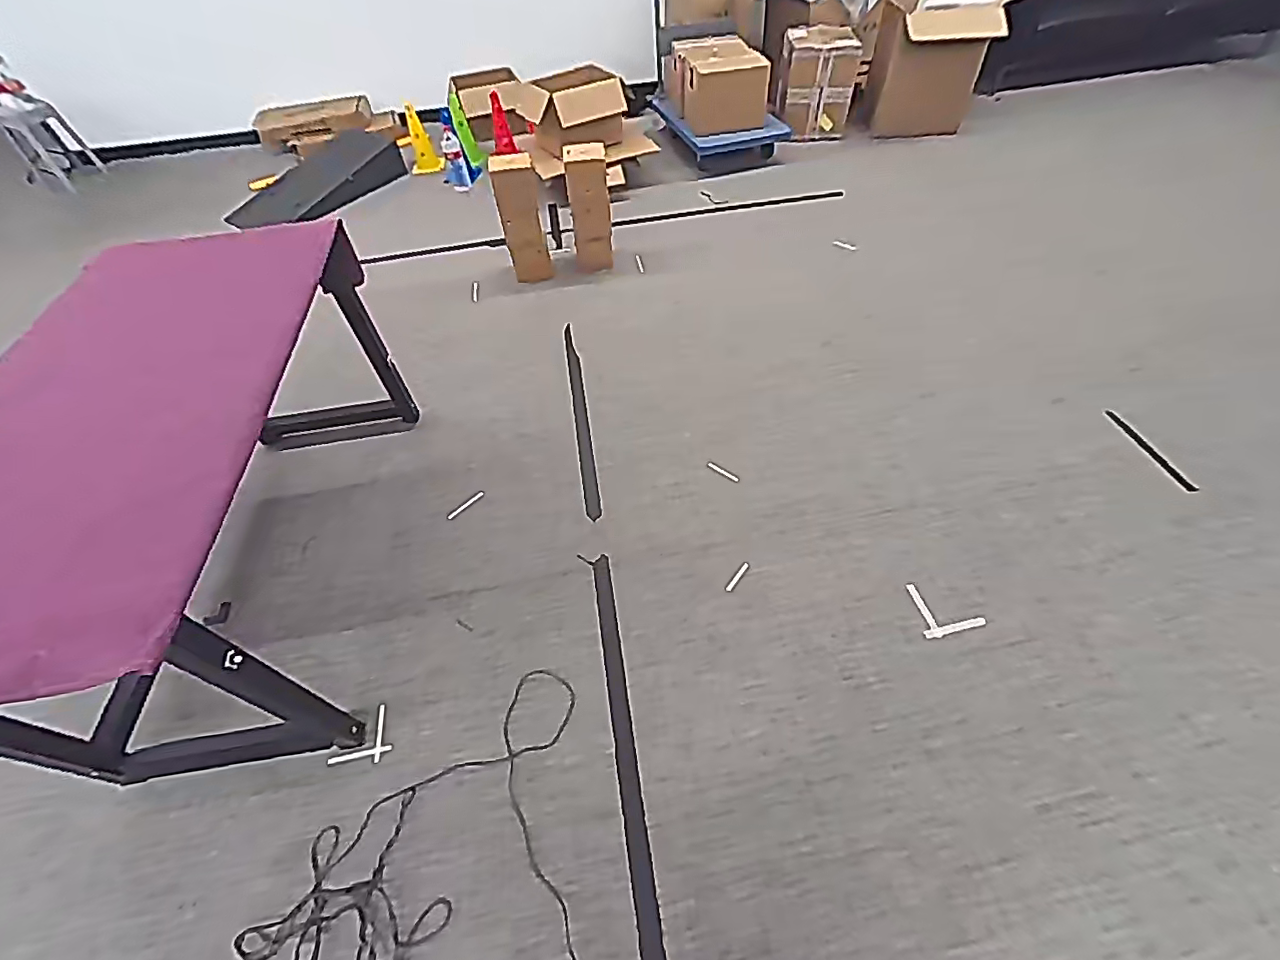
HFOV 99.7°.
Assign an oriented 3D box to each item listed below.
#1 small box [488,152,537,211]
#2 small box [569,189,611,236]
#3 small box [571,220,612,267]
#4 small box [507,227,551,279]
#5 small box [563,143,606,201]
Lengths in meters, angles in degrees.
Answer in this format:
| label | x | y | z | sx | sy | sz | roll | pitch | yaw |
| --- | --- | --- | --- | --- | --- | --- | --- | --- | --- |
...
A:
| label | x | y | z | sx | sy | sz | roll | pitch | yaw |
| --- | --- | --- | --- | --- | --- | --- | --- | --- | --- |
| small box | -0.544 | -1.279 | 2.318 | 0.179 | 0.176 | 0.168 | -11 | 50 | -5 |
| small box | -0.231 | -1.235 | 2.473 | 0.179 | 0.176 | 0.168 | -8 | 53 | -4 |
| small box | -0.232 | -1.146 | 2.613 | 0.168 | 0.176 | 0.179 | -9 | 52 | -5 |
| small box | -0.527 | -1.079 | 2.577 | 0.179 | 0.176 | 0.168 | -9 | 52 | -4 |
| small box | -0.237 | -1.333 | 2.341 | 0.179 | 0.176 | 0.168 | -5 | 52 | -2 |
